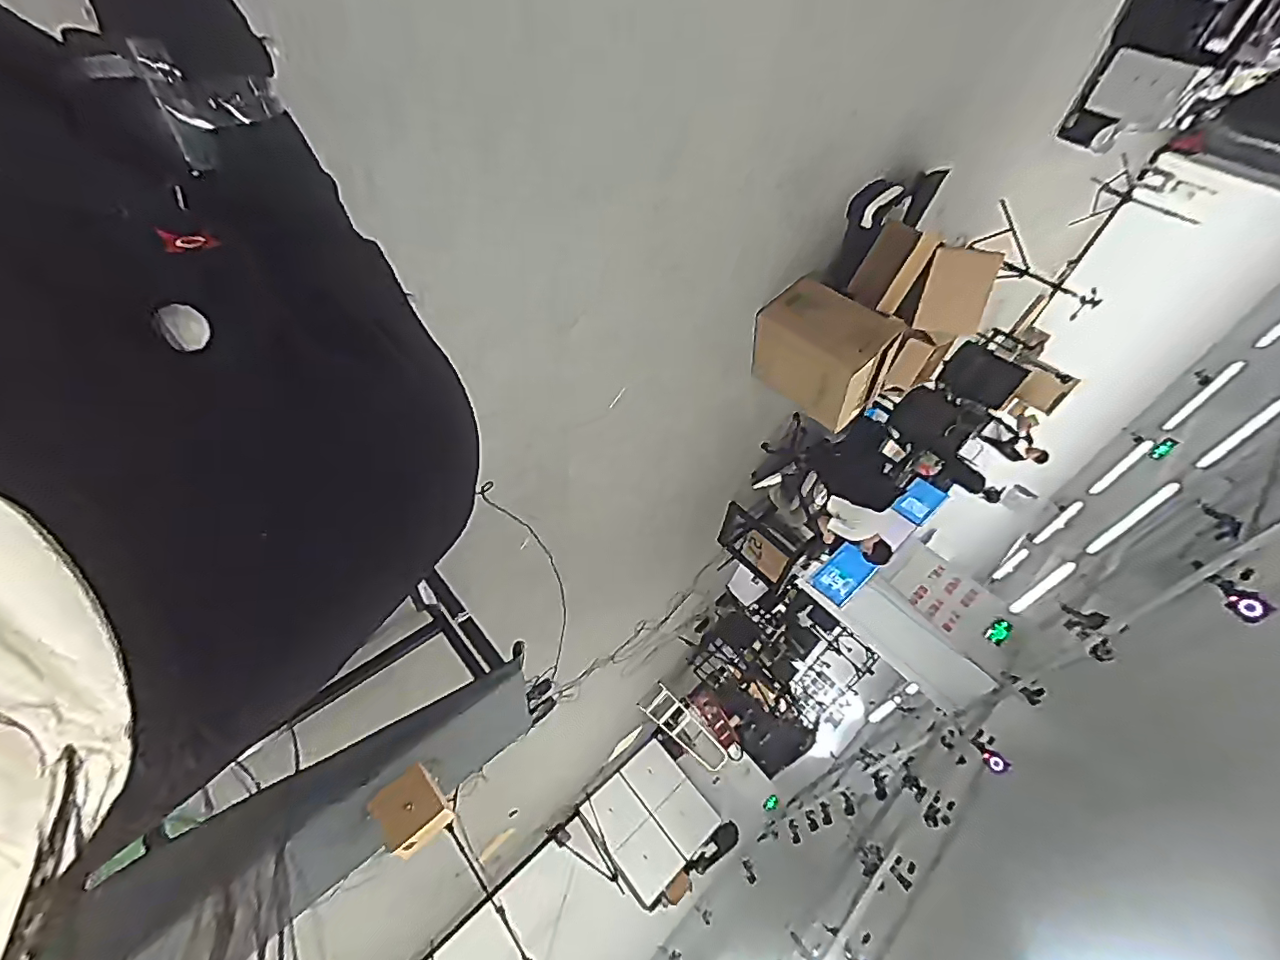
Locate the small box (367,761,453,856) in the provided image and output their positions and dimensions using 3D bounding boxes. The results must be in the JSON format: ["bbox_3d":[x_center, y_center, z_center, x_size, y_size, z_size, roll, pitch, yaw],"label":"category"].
[{"bbox_3d":[-0.709,1.007,1.660,0.179,0.176,0.168,-33,151,-24],"label":"small box"}]
